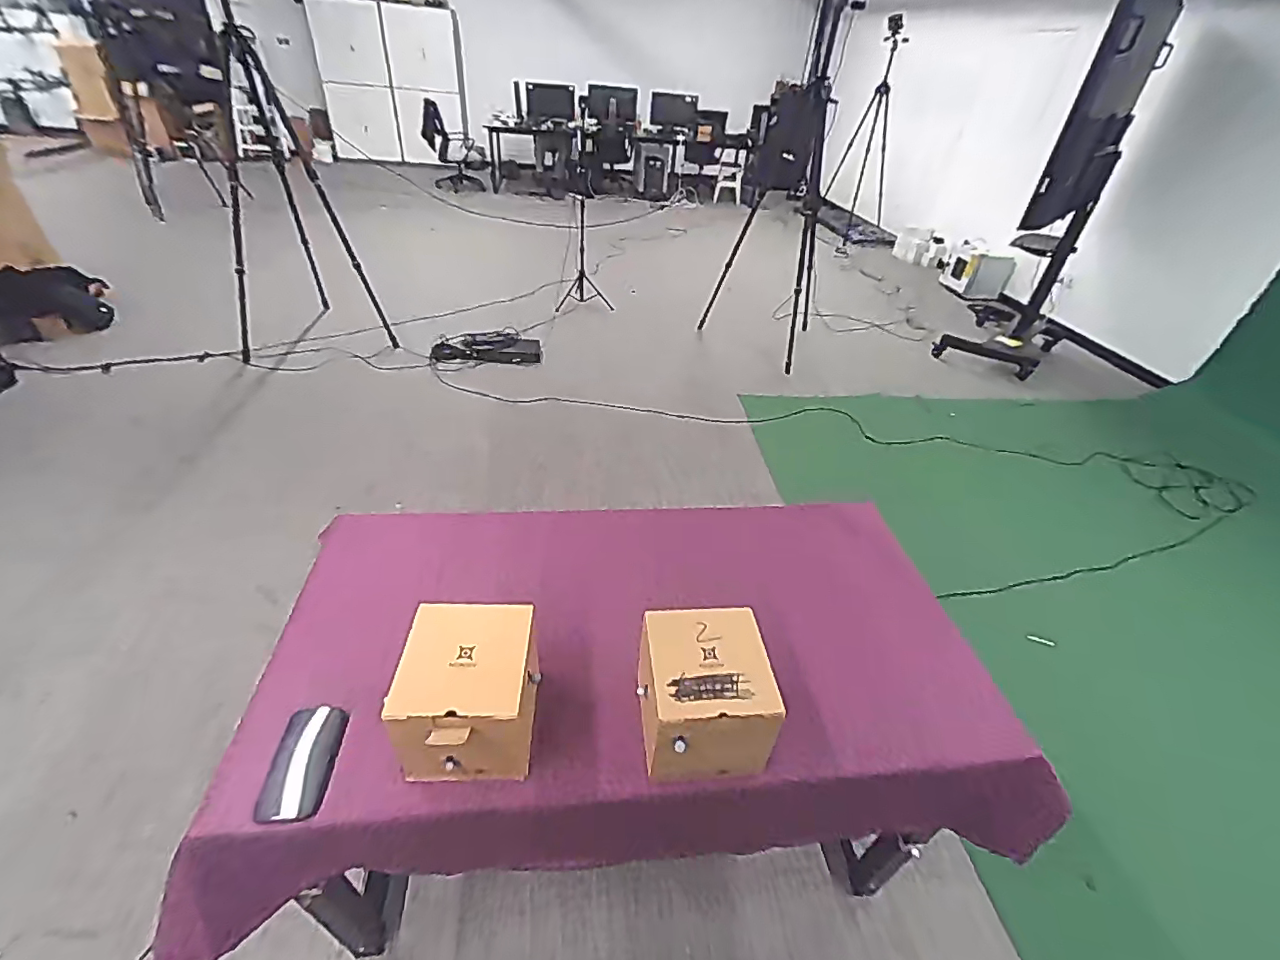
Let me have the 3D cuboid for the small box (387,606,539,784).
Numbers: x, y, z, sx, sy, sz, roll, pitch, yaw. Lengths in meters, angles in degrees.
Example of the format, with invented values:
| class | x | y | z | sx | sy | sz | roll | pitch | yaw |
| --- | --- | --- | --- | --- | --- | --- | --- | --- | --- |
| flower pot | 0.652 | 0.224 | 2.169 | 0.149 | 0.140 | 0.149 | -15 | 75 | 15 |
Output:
| class | x | y | z | sx | sy | sz | roll | pitch | yaw |
| --- | --- | --- | --- | --- | --- | --- | --- | --- | --- |
| small box | -0.235 | 0.303 | 0.770 | 0.168 | 0.176 | 0.179 | 3 | 38 | -5 |
